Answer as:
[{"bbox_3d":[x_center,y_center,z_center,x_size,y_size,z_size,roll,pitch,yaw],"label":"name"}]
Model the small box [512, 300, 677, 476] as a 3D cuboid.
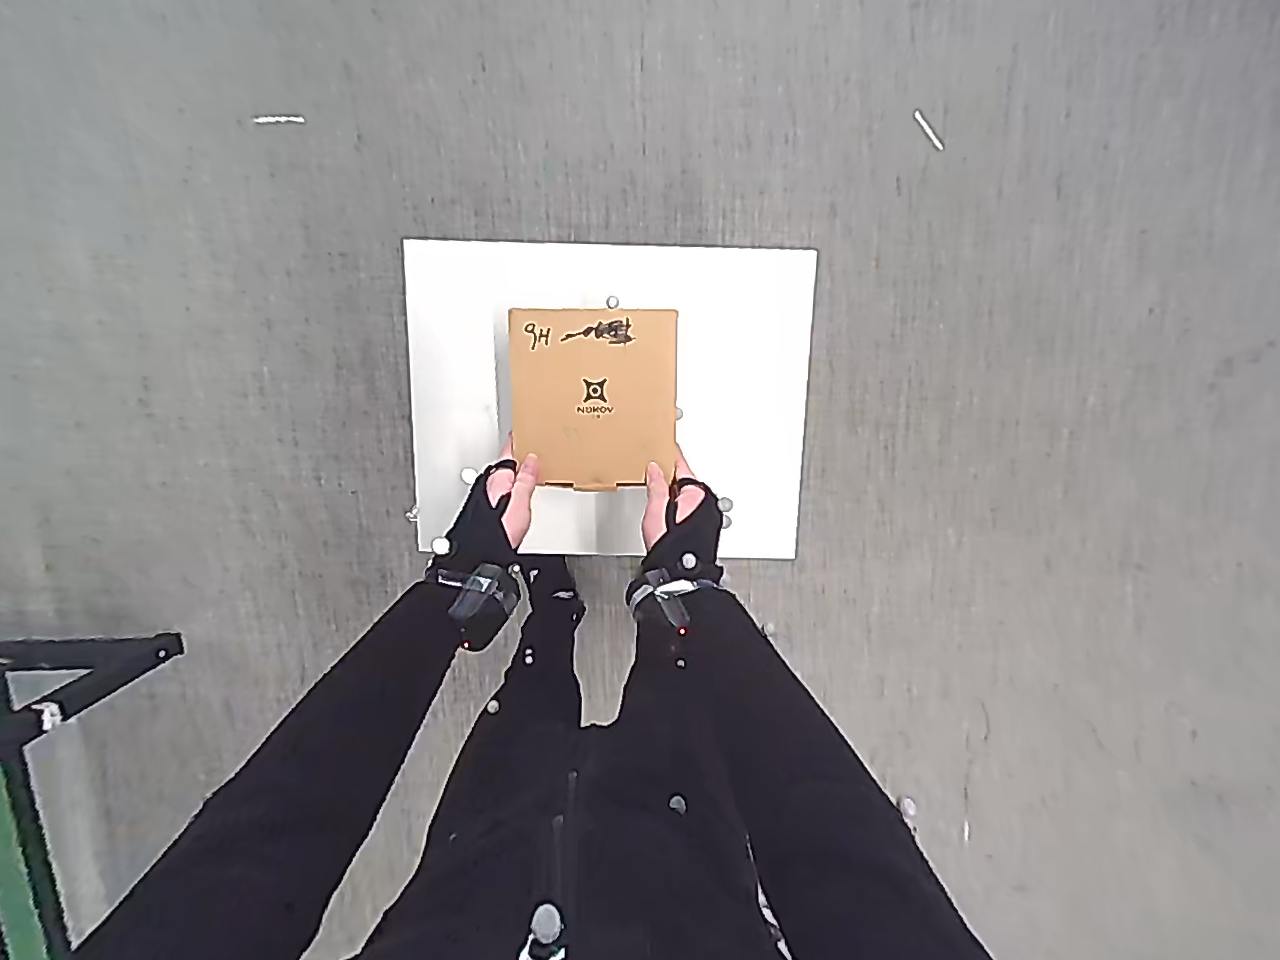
[{"bbox_3d":[-0.043,-0.104,0.624,0.168,0.176,0.179,-2,99,0],"label":"small box"}]
